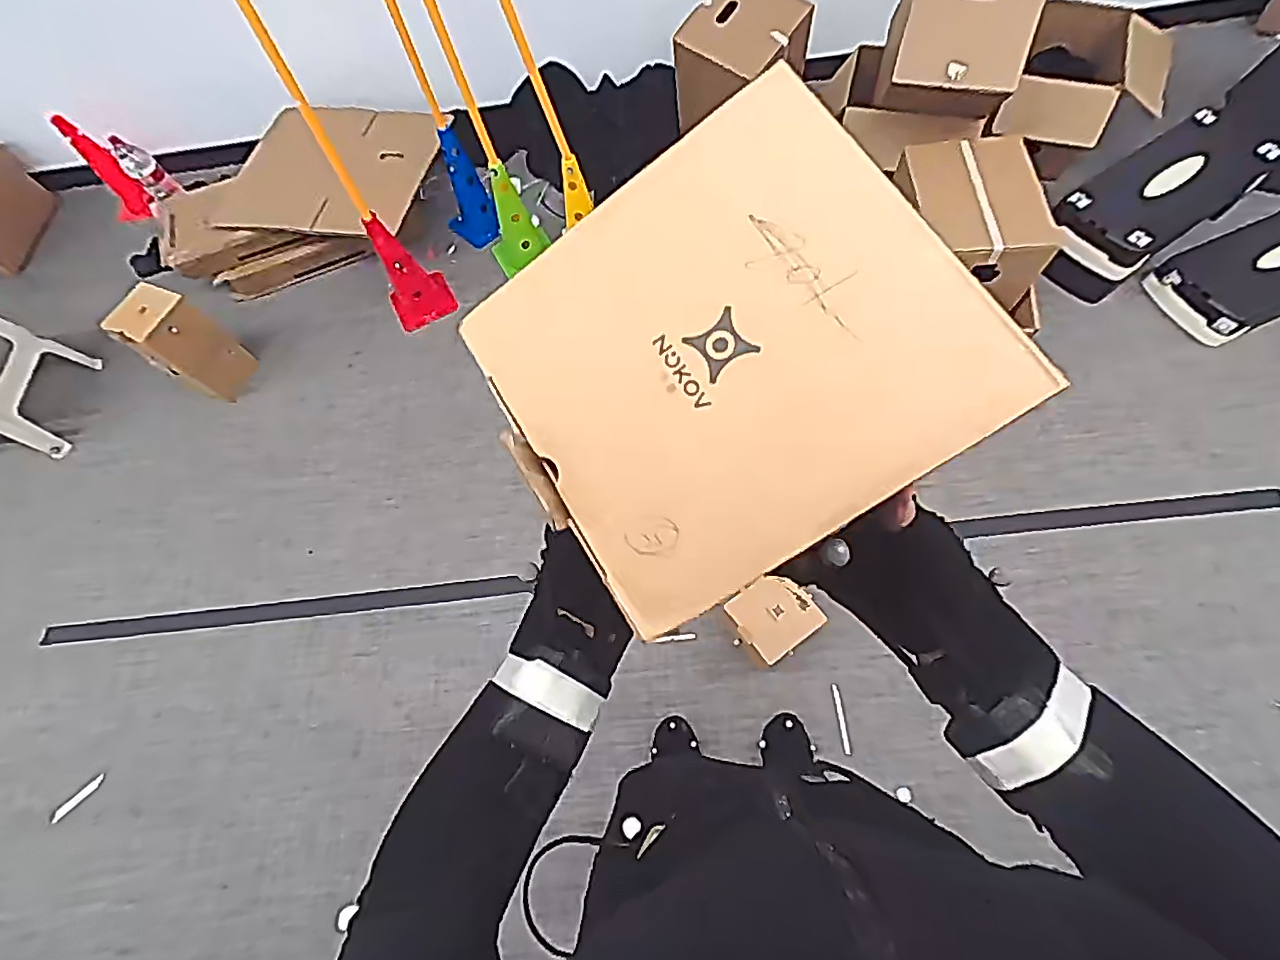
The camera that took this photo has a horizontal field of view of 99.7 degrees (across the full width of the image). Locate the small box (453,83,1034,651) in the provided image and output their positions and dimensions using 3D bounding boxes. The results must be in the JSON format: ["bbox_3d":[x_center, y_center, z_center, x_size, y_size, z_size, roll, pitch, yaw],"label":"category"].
[{"bbox_3d":[0.046,-0.038,0.289,0.179,0.176,0.168,-35,77,11],"label":"small box"}]

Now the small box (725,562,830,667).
[{"bbox_3d":[0.322,0.329,1.299,0.179,0.176,0.168,-37,68,-11],"label":"small box"}]
